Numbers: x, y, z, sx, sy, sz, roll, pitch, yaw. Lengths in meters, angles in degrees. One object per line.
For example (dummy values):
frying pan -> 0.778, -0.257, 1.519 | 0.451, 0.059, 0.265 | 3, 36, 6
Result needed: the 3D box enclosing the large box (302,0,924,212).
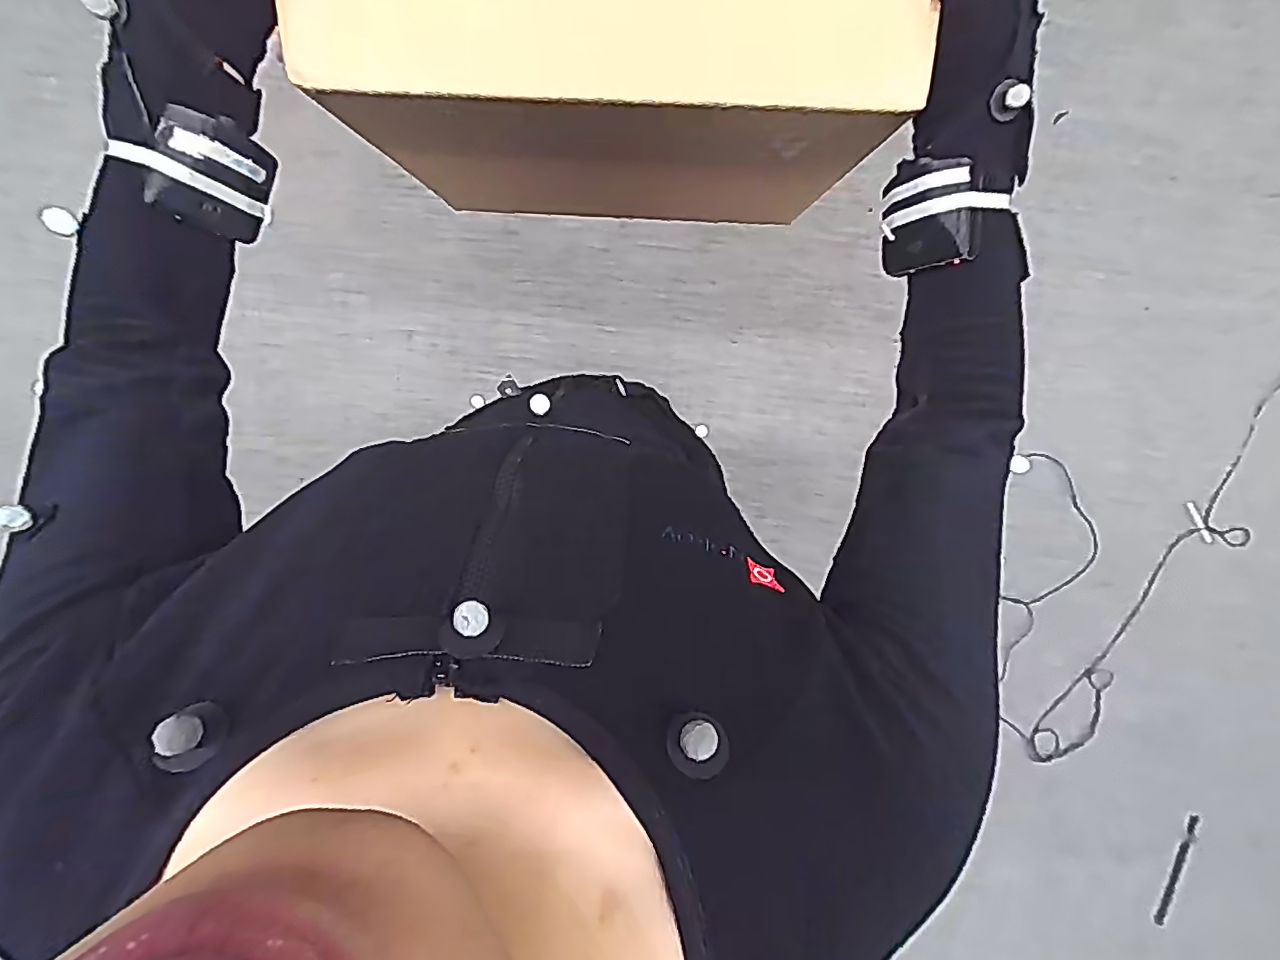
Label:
large box -> -0.017, -0.437, 0.466 | 0.408, 0.320, 0.320 | 1, 104, -1
